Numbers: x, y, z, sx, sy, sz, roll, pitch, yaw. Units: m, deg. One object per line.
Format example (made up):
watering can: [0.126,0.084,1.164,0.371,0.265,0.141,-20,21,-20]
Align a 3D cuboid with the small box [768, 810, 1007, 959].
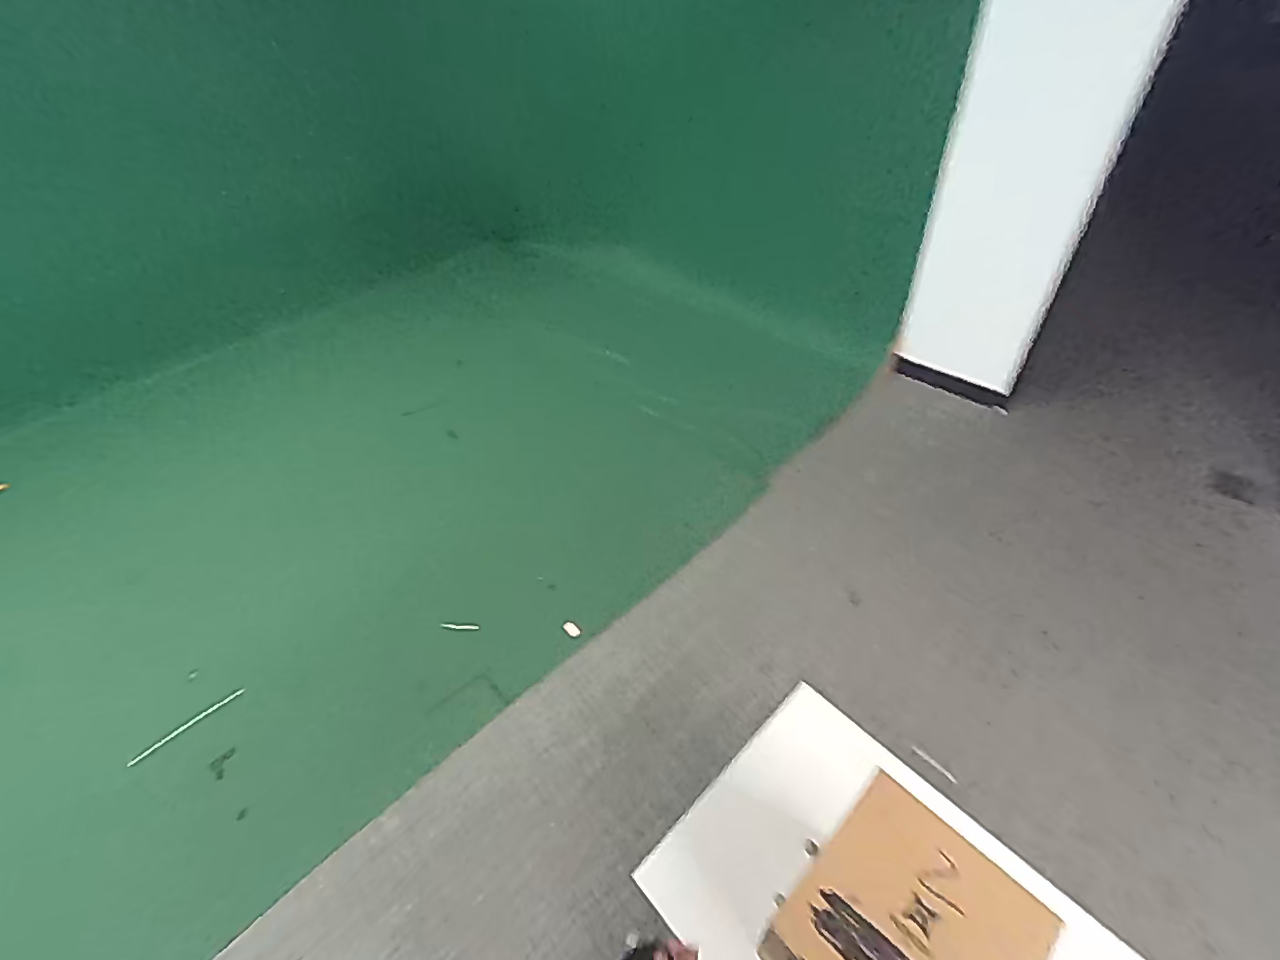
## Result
small box: [0.259,0.524,0.606,0.179,0.176,0.168,-34,49,-25]
